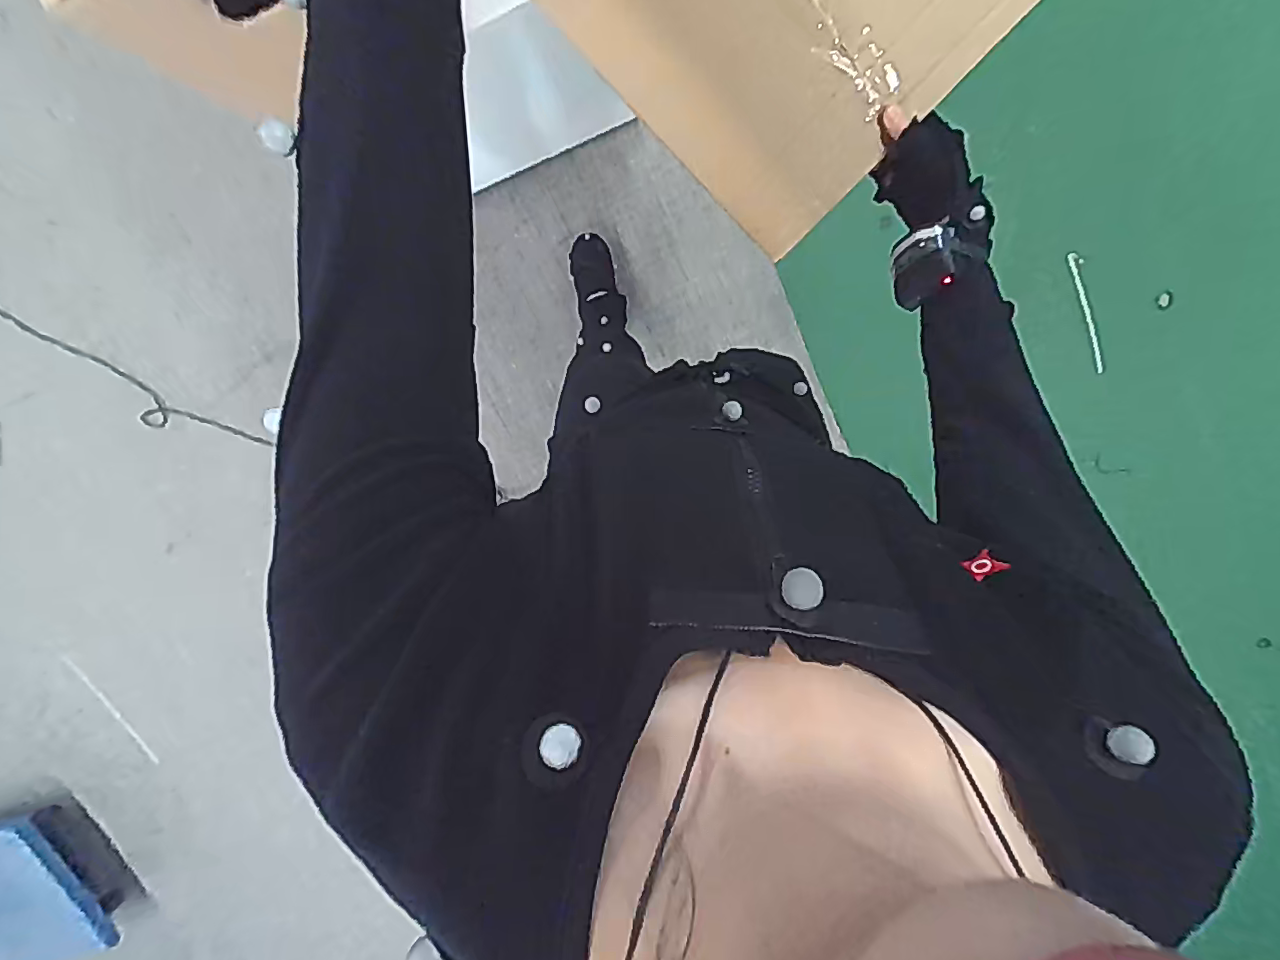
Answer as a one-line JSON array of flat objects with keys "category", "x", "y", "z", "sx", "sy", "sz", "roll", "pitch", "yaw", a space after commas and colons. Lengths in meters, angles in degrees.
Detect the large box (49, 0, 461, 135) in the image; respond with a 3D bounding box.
[{"category": "large box", "x": -0.463, "y": -0.693, "z": 0.585, "sx": 0.320, "sy": 0.320, "sz": 0.408, "roll": -20, "pitch": 102, "yaw": 7}]
